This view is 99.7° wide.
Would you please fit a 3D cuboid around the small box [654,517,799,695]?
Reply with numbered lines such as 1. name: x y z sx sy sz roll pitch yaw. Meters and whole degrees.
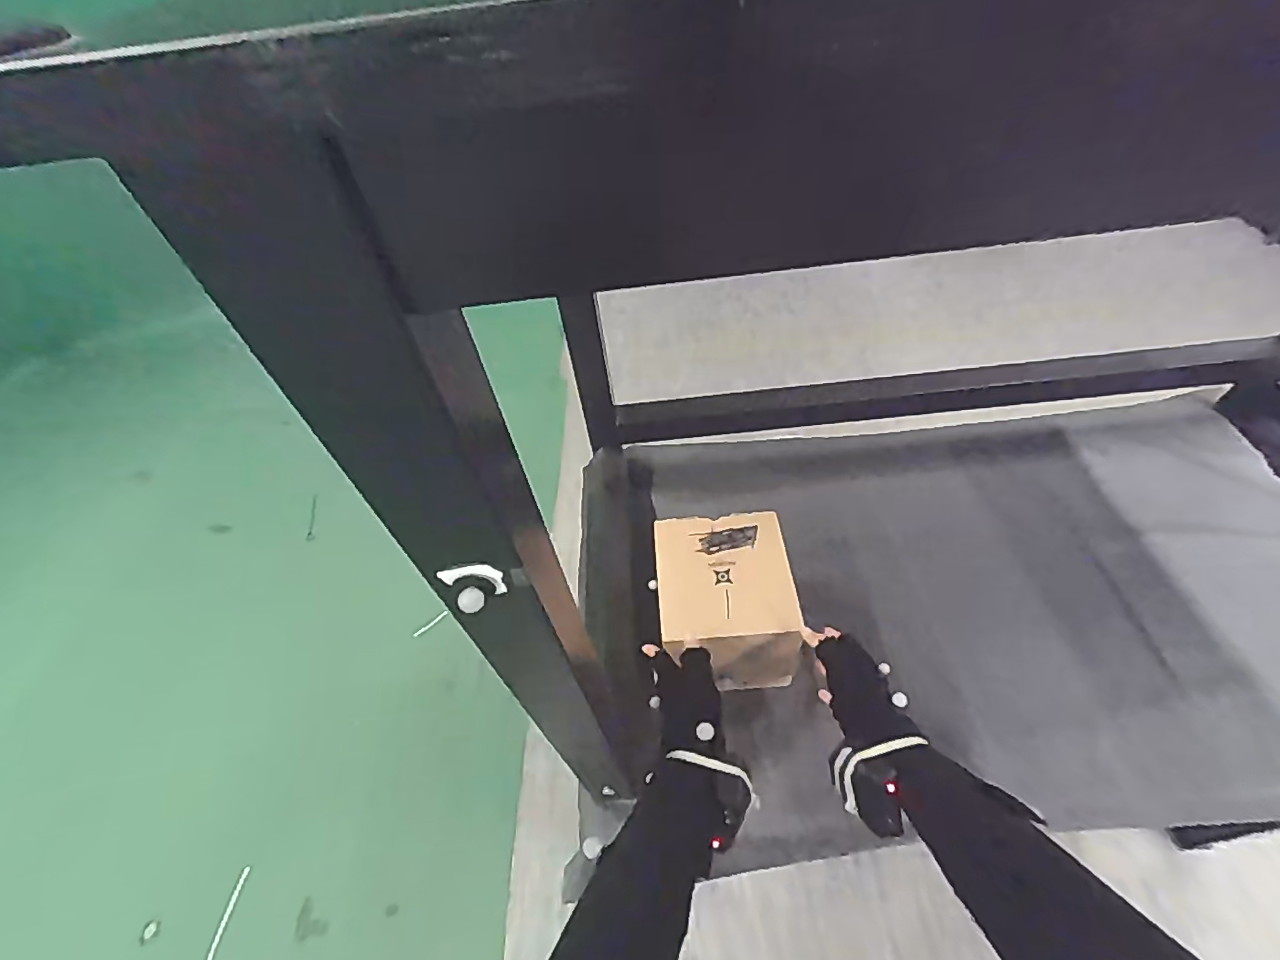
1. small box: 0.107 0.173 0.737 0.168 0.176 0.179 -5 48 3
